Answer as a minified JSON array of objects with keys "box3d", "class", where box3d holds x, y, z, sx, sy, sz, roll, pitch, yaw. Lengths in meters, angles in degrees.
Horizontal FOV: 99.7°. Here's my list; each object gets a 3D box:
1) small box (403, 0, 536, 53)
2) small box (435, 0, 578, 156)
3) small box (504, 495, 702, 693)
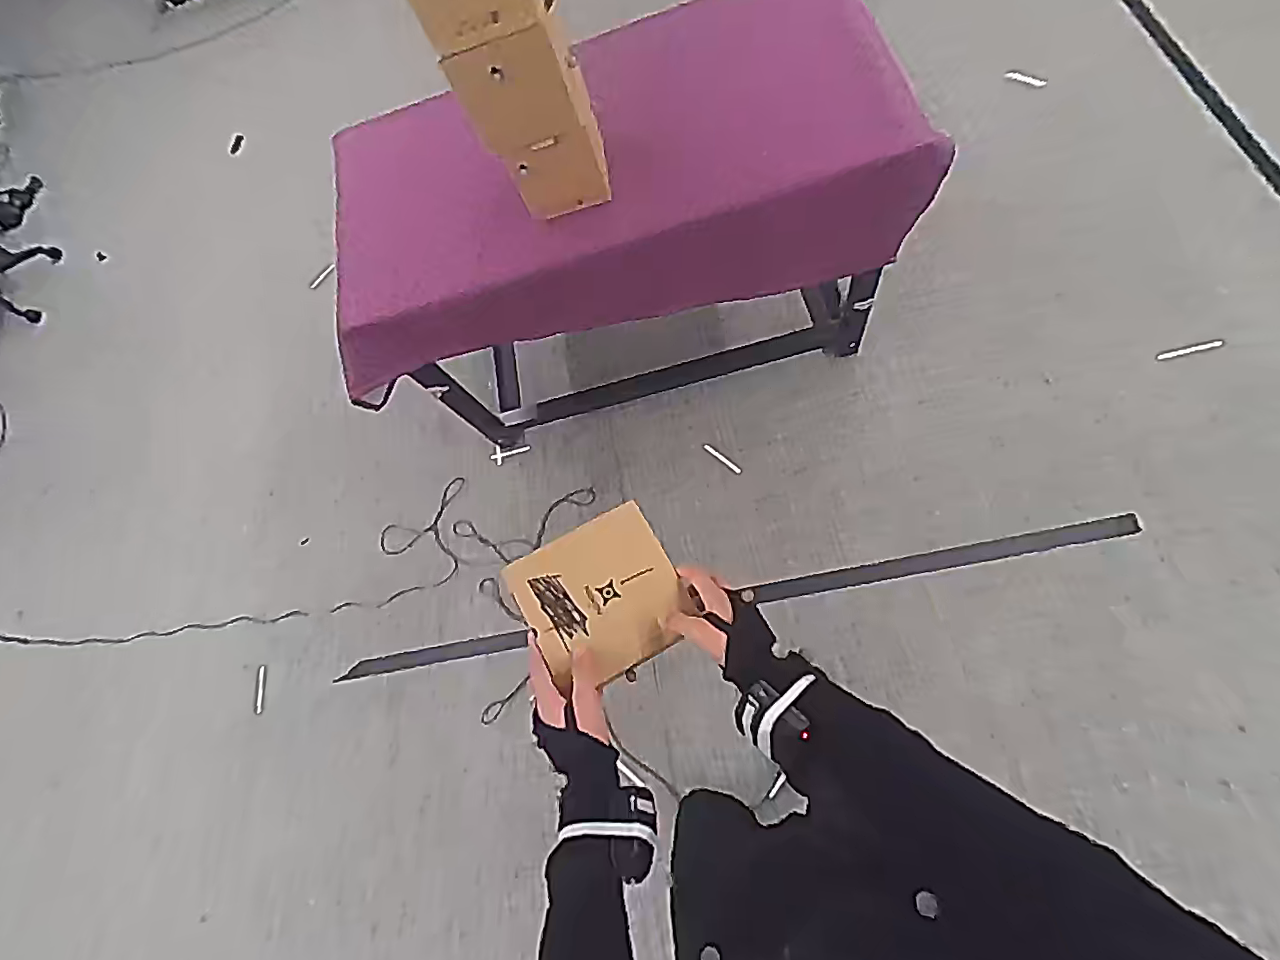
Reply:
[{"box3d":[-0.254,-0.740,0.751,0.168,0.176,0.179,-12,68,9],"class":"small box"},{"box3d":[-0.217,-0.682,0.899,0.179,0.176,0.168,-12,70,9],"class":"small box"},{"box3d":[-0.042,0.150,0.678,0.179,0.176,0.168,-28,72,-10],"class":"small box"}]
